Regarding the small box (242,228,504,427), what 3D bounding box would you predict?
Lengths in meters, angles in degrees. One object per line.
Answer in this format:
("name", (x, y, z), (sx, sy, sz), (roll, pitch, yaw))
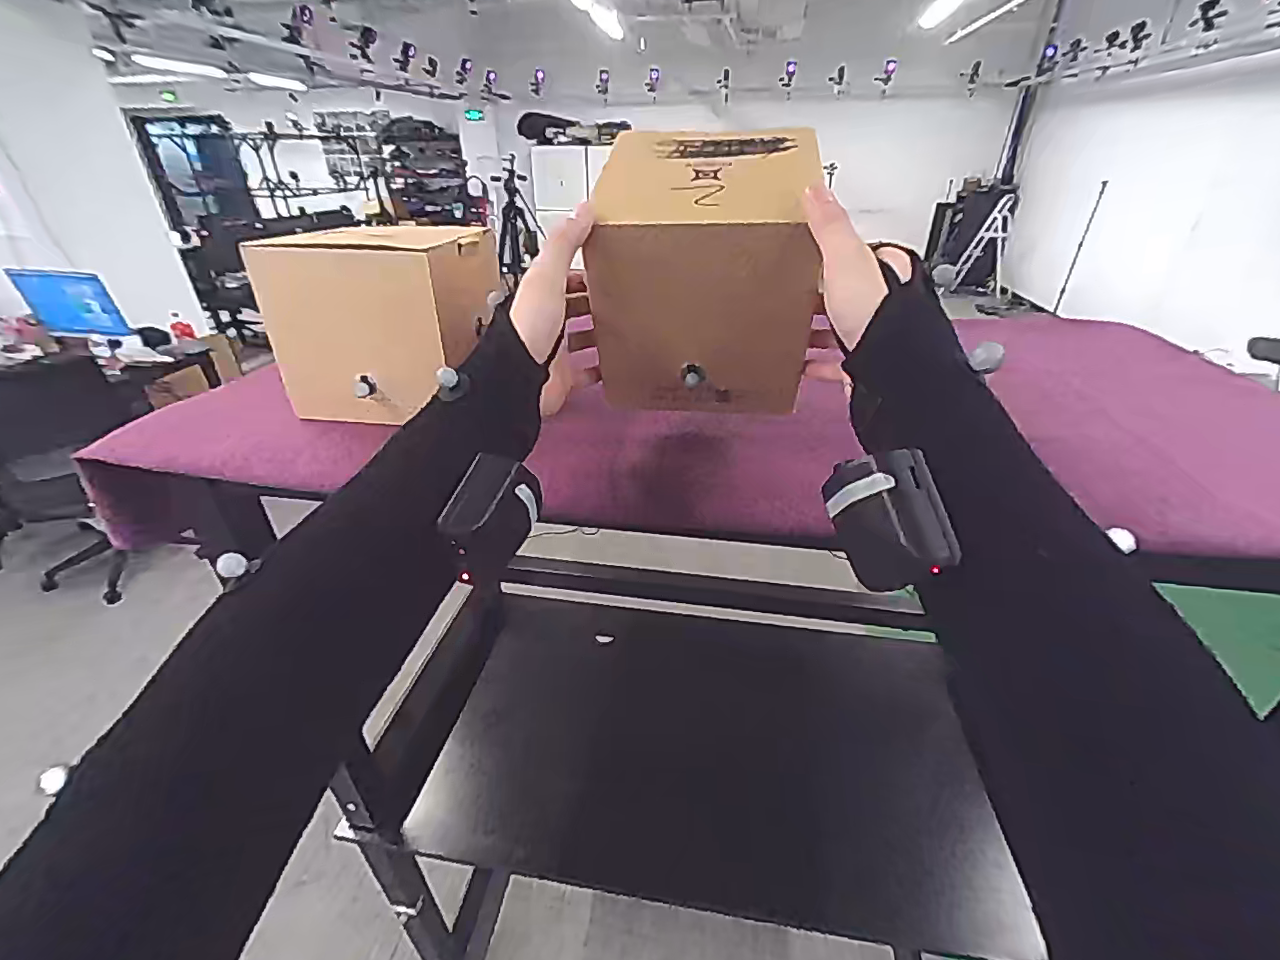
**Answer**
("small box", (-0.257, -0.165, 0.574), (0.179, 0.176, 0.168), (4, 30, 6))
